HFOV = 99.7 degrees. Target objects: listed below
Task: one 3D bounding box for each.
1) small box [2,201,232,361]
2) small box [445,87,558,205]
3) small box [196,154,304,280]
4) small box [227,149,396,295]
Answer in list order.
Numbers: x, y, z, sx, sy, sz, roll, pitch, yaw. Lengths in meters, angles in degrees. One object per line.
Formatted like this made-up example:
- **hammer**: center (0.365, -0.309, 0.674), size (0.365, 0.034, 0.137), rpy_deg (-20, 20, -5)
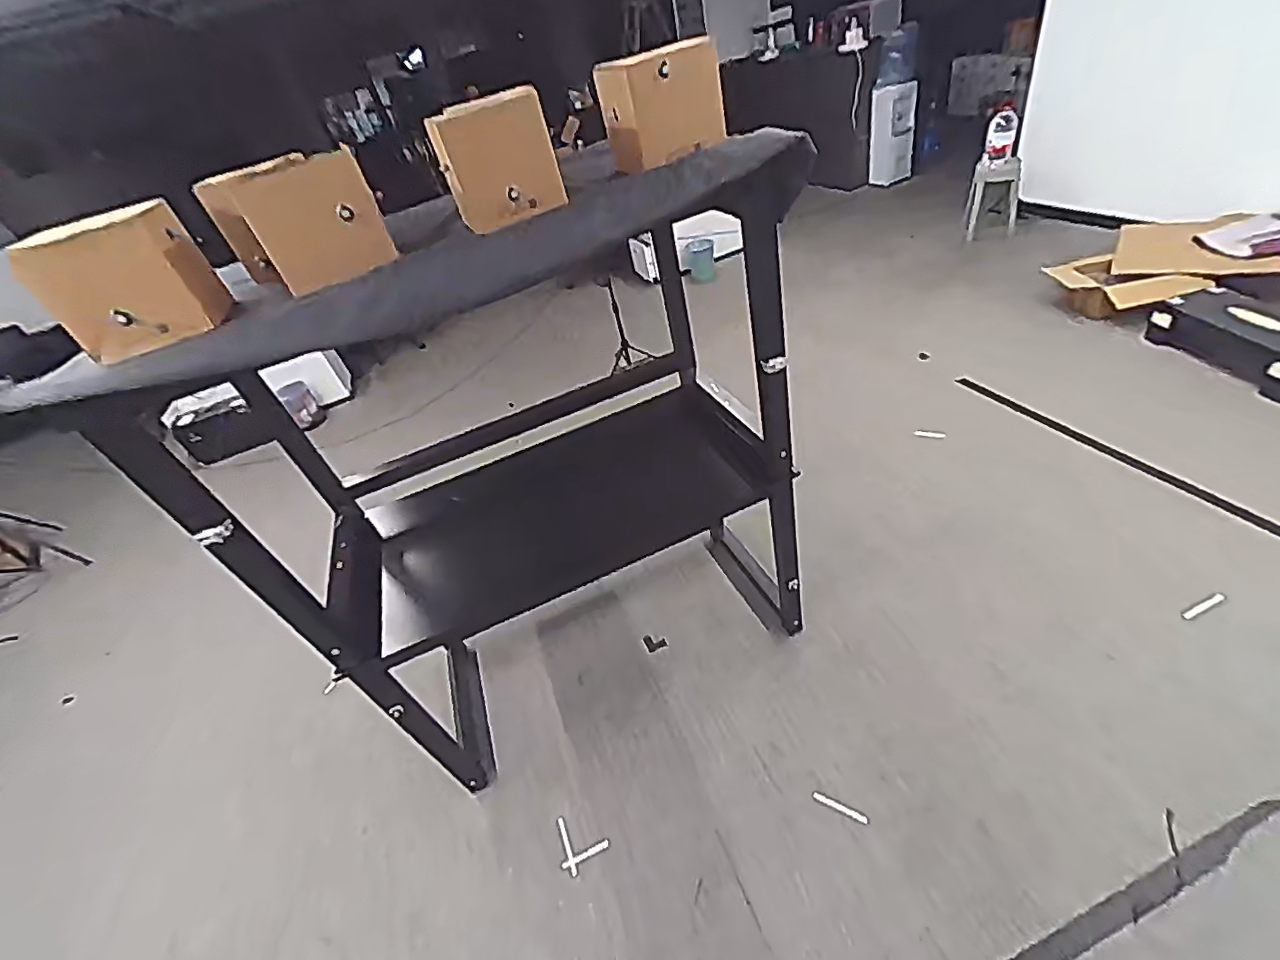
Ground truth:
- **small box**: center (-0.764, -0.302, 0.821), size (0.168, 0.176, 0.179), rpy_deg (-26, 40, -12)
- **small box**: center (-0.282, -0.679, 1.106), size (0.168, 0.176, 0.179), rpy_deg (-23, 39, -7)
- **small box**: center (-0.686, -0.501, 1.035), size (0.168, 0.176, 0.179), rpy_deg (-23, 38, -9)
- **small box**: center (-0.513, -0.421, 0.878), size (0.179, 0.176, 0.168), rpy_deg (-24, 37, -13)
